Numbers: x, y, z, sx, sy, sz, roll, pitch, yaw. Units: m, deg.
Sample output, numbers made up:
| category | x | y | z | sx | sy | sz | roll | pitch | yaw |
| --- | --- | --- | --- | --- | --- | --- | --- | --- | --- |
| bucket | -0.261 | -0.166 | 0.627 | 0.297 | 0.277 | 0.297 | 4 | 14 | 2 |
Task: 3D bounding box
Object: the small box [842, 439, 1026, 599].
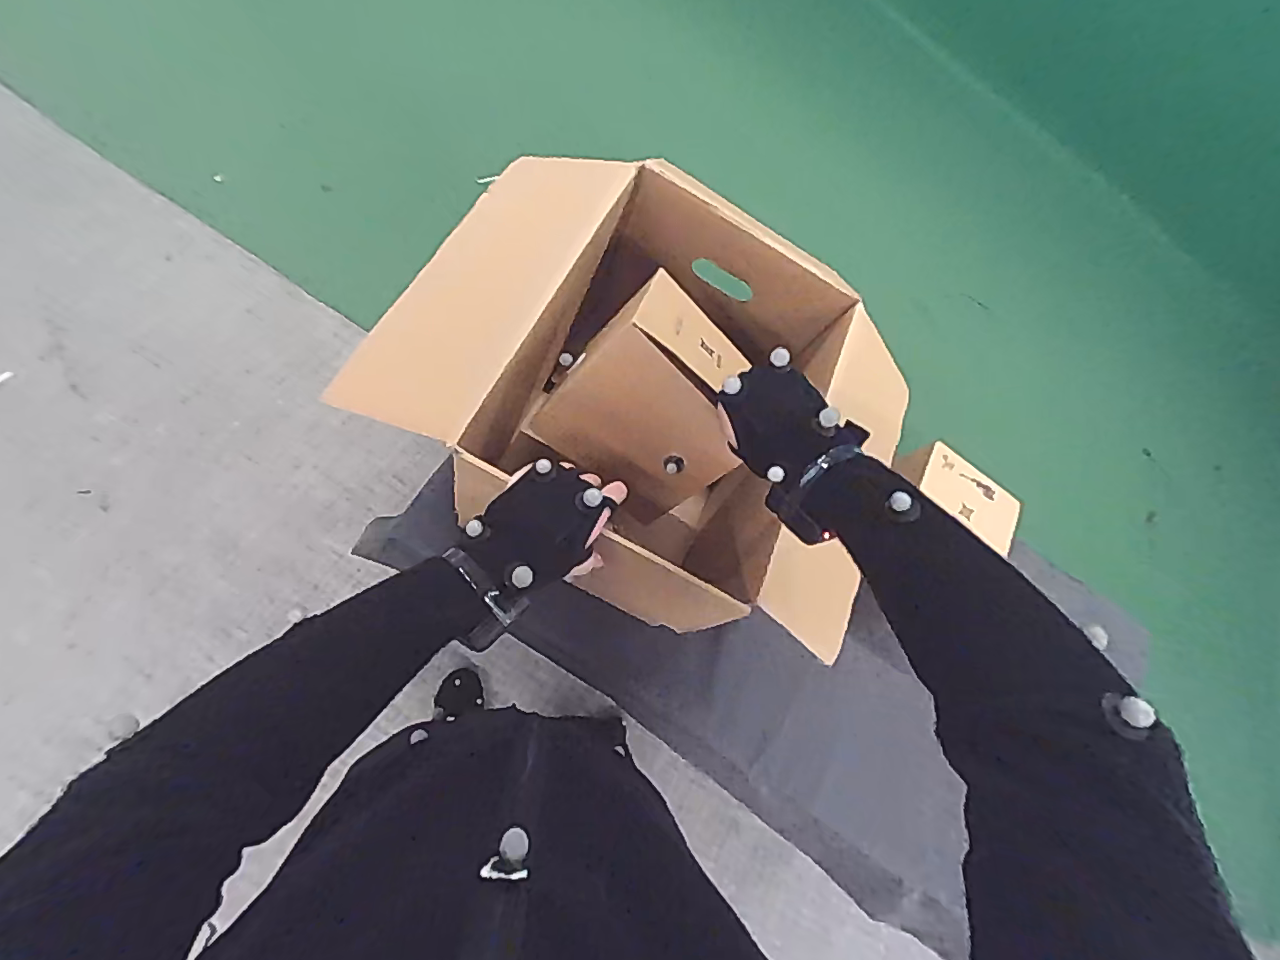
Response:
| category | x | y | z | sx | sy | sz | roll | pitch | yaw |
| --- | --- | --- | --- | --- | --- | --- | --- | --- | --- |
| small box | 0.452 | 0.072 | 0.856 | 0.168 | 0.176 | 0.179 | 37 | 68 | -3 |
